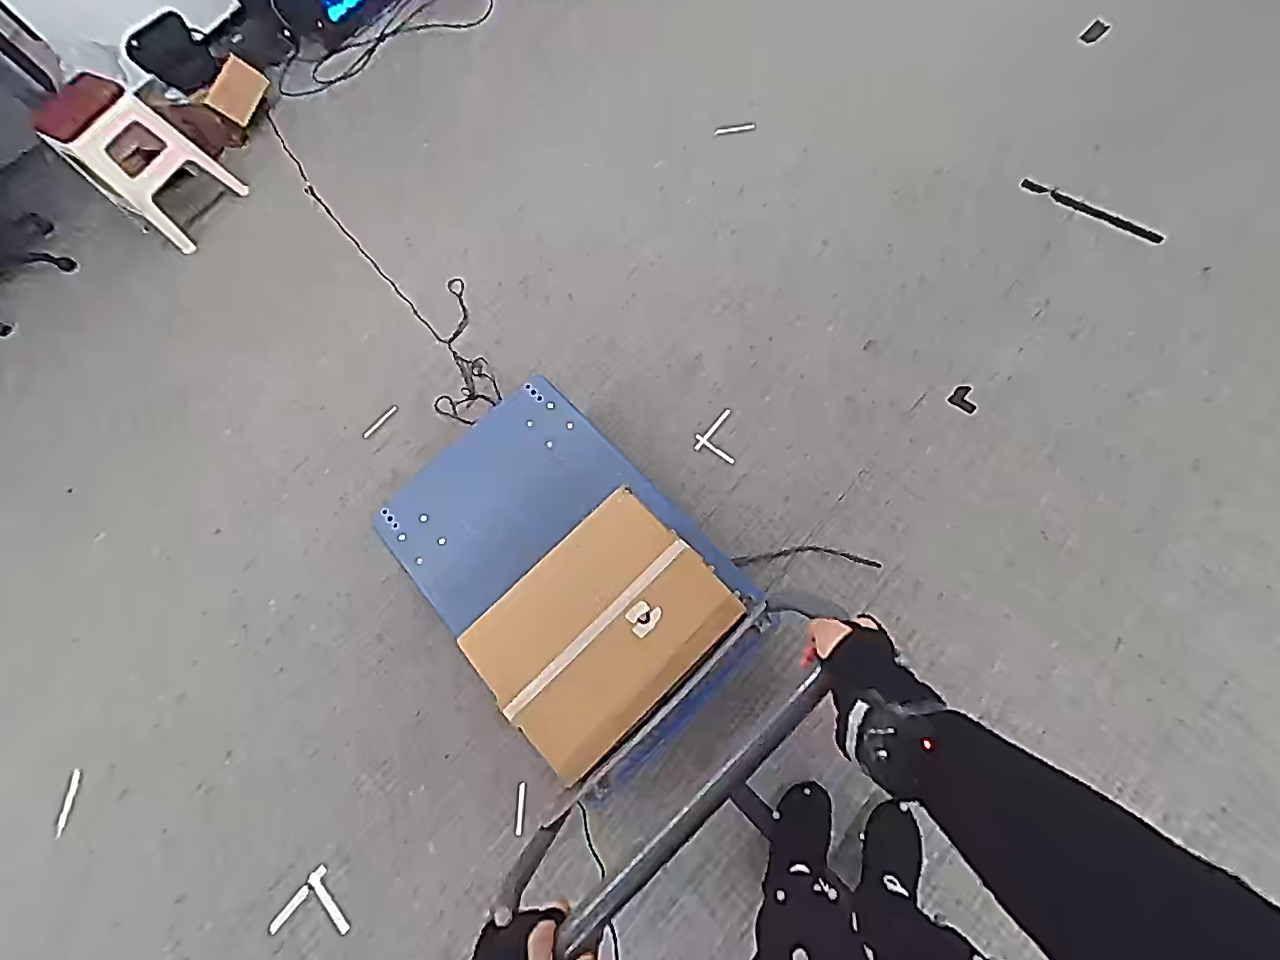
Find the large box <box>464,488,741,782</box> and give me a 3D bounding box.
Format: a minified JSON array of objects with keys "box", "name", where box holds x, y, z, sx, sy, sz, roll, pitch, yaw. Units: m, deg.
[{"box":[-0.053,0.296,1.071,0.408,0.320,0.320,-44,73,-8],"name":"large box"}]
